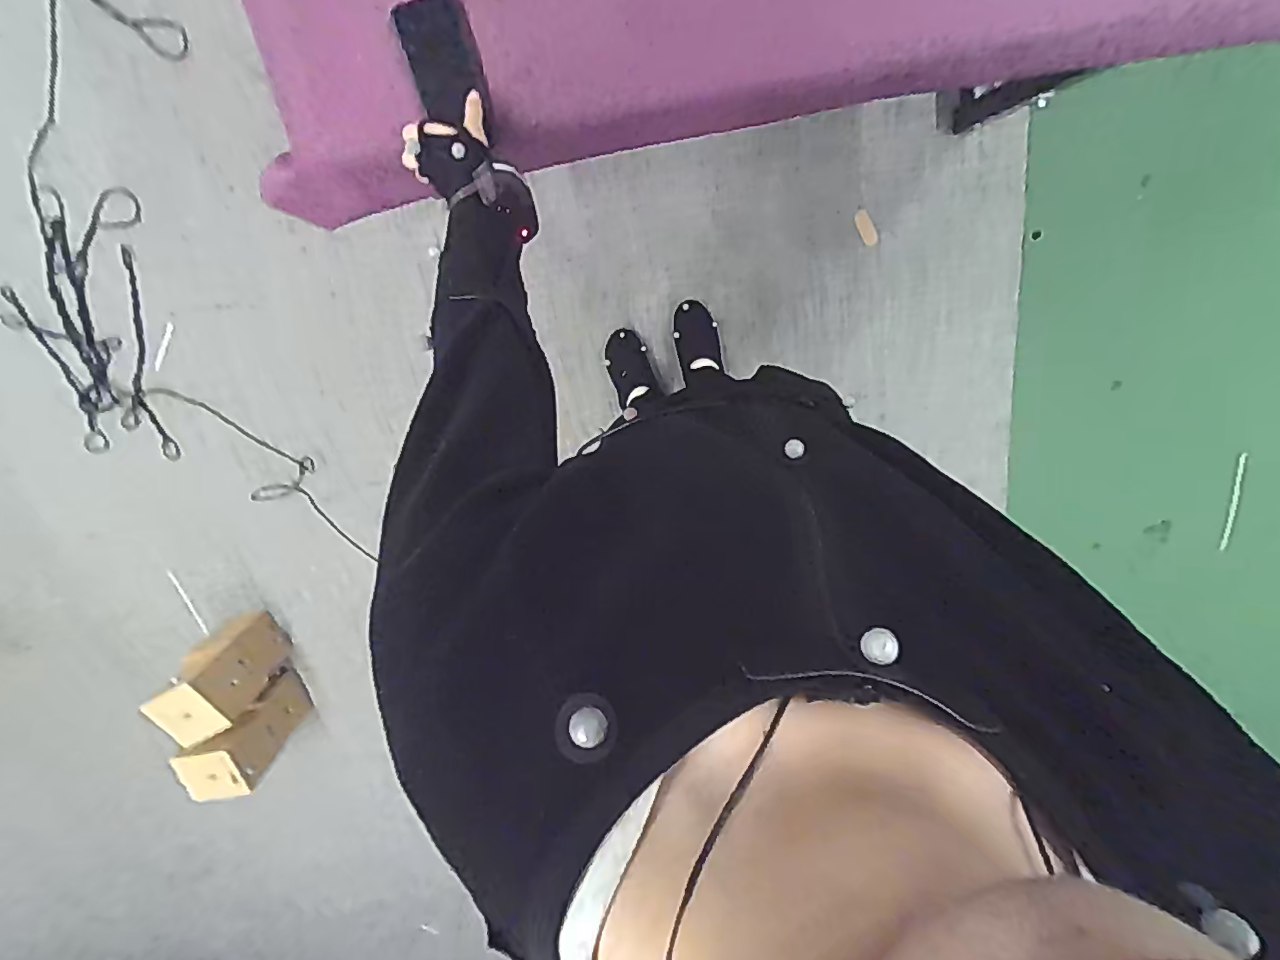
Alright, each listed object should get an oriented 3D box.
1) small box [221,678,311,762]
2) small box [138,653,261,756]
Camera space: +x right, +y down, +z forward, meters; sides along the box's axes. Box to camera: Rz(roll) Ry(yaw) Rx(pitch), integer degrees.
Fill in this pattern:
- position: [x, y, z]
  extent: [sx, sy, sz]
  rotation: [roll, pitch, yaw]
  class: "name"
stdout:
- position: [-1.196, 0.755, 1.722]
  extent: [0.168, 0.176, 0.179]
  rotation: [-11, 110, 4]
  class: "small box"
- position: [-1.201, 0.614, 1.496]
  extent: [0.179, 0.176, 0.168]
  rotation: [-27, 109, 10]
  class: "small box"
